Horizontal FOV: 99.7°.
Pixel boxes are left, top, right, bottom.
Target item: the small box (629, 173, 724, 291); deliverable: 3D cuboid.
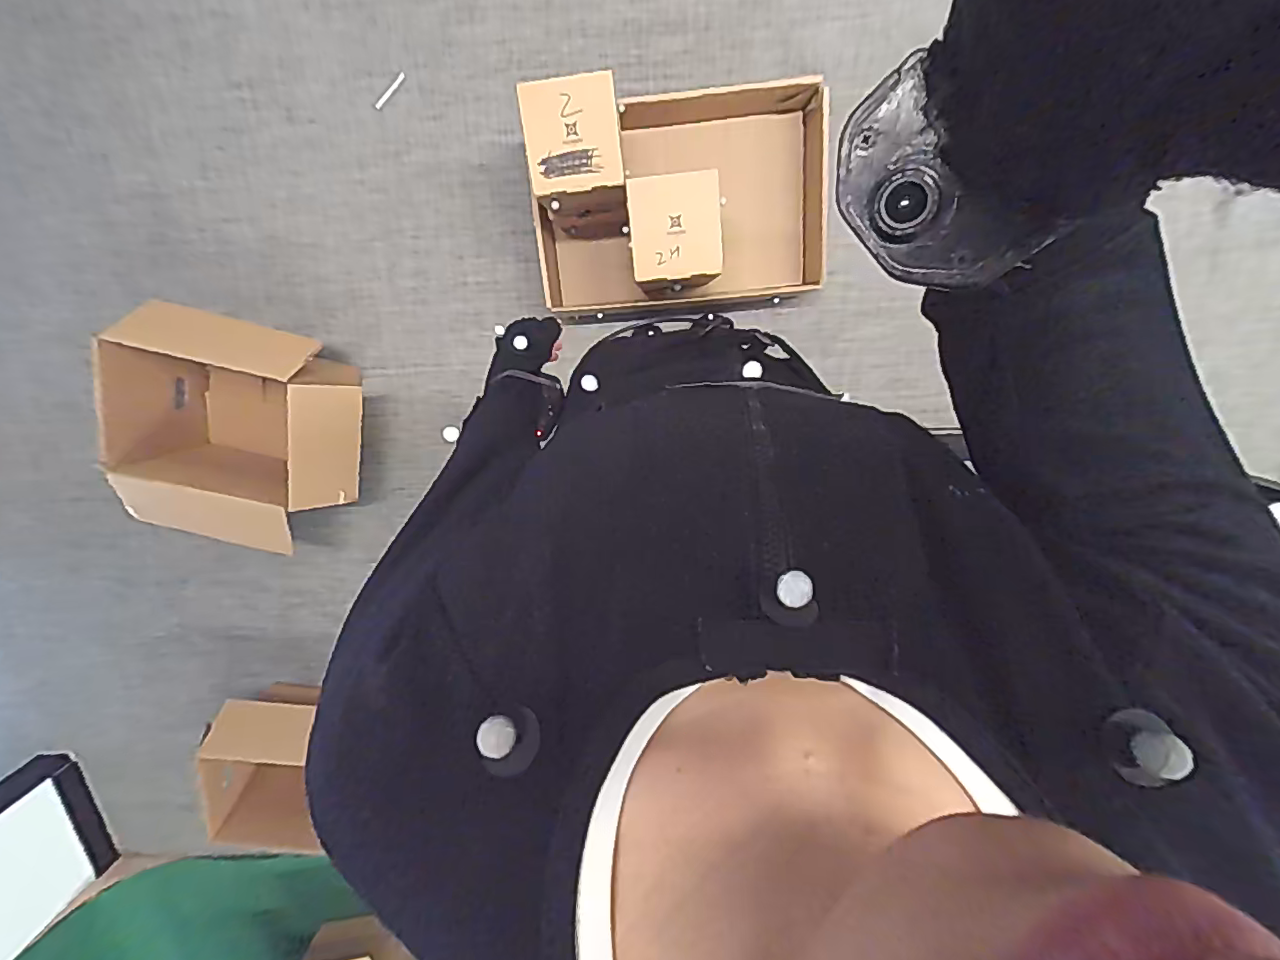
[{"bbox_3d":[0.068,-0.469,1.047,0.168,0.176,0.179,-5,106,3],"label":"small box"}]
